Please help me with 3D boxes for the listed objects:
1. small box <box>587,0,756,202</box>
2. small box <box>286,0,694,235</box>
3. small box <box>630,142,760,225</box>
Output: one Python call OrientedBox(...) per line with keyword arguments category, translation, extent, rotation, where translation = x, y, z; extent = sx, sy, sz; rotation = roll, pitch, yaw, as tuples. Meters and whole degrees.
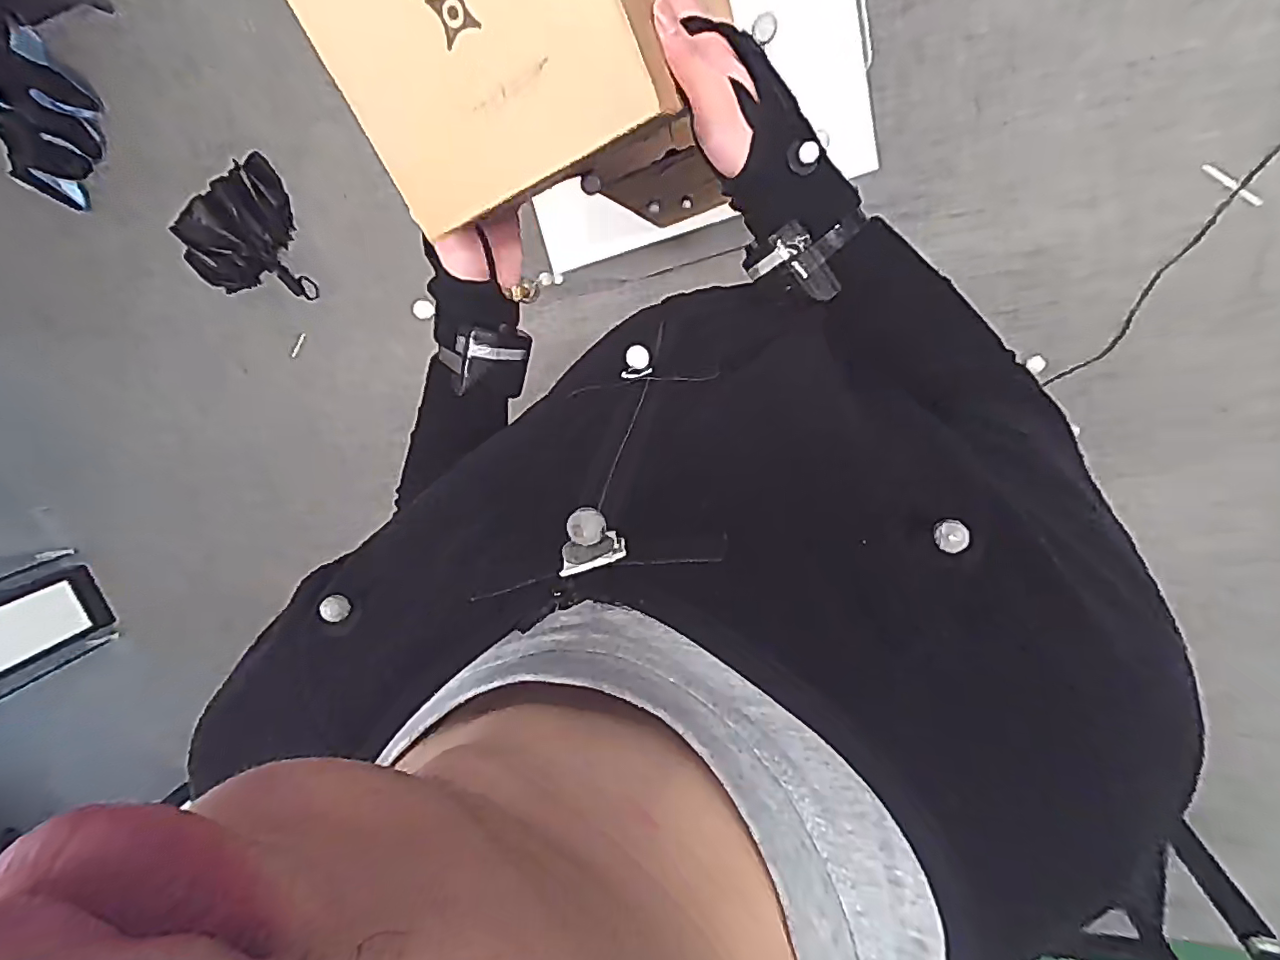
OrientedBox(category="small box", translation=(0.021, -0.412, 0.566), extent=(0.168, 0.176, 0.179), rotation=(-14, 103, 17))
OrientedBox(category="small box", translation=(-0.079, -0.283, 0.332), extent=(0.168, 0.176, 0.179), rotation=(-16, 120, 24))
OrientedBox(category="small box", translation=(0.058, -0.464, 0.719), extent=(0.168, 0.176, 0.179), rotation=(-14, 104, 18))
